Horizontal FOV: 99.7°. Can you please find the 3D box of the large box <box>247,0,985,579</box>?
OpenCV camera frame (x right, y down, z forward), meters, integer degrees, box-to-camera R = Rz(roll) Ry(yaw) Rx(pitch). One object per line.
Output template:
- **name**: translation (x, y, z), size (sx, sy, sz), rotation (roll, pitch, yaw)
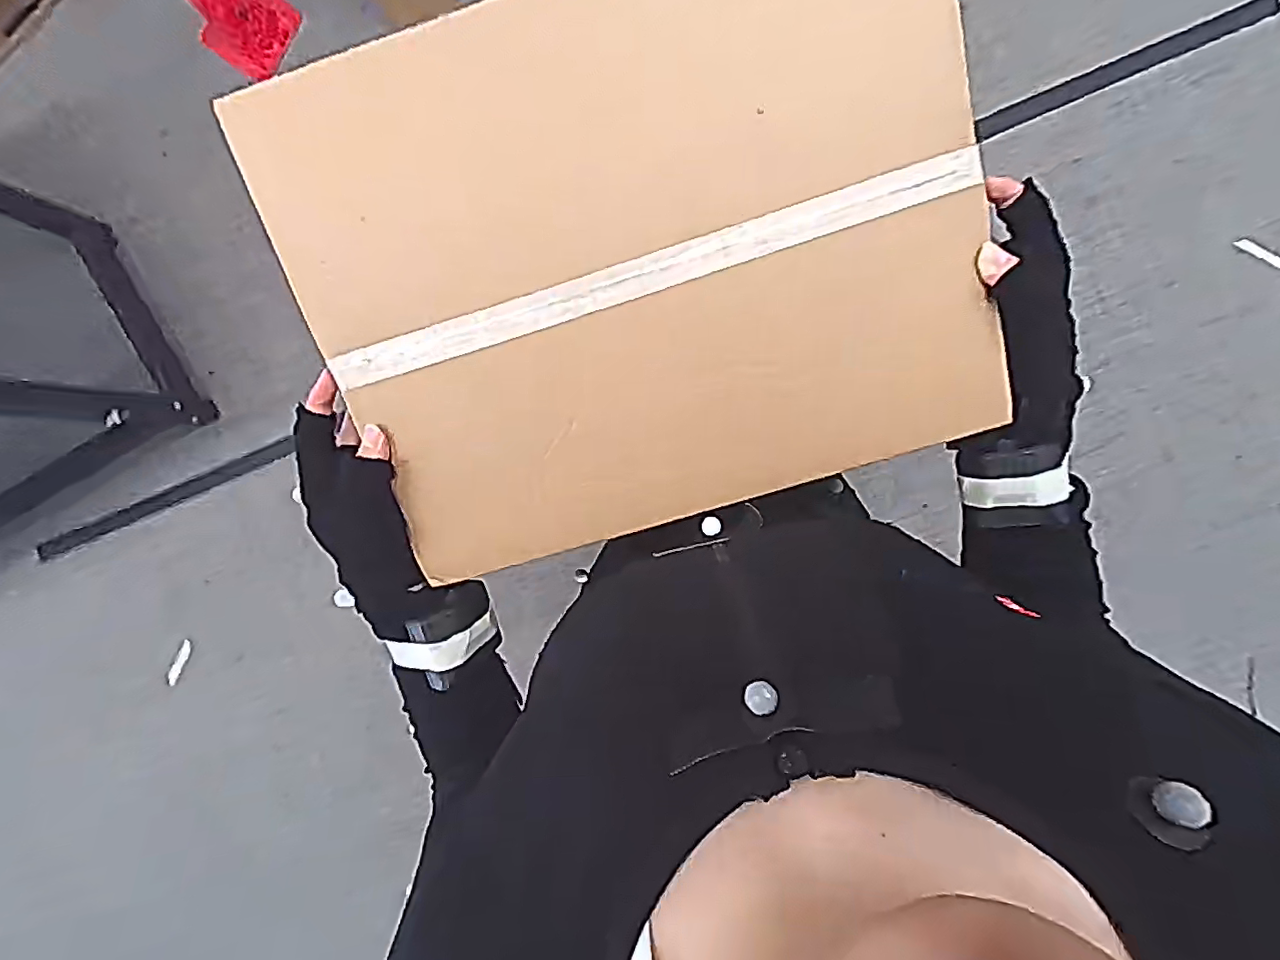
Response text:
- **large box**: translation (0.001, -0.164, 0.481), size (0.408, 0.320, 0.320), rotation (-16, 104, 4)
